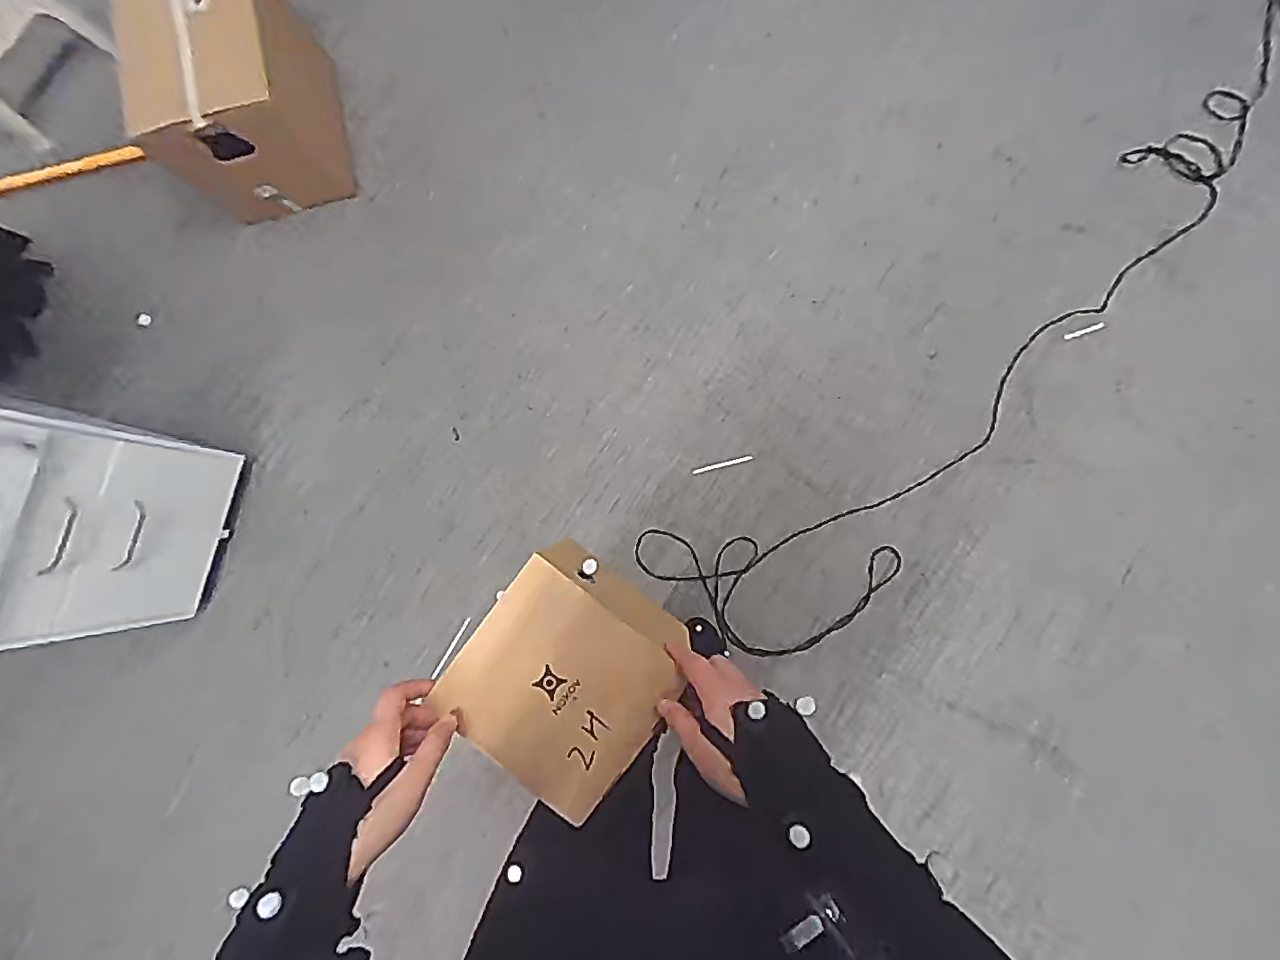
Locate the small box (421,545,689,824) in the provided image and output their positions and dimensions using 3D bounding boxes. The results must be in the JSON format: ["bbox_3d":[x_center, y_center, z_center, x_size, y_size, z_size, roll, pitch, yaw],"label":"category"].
[{"bbox_3d":[-0.069,0.179,0.539,0.179,0.176,0.168,38,92,4],"label":"small box"}]
